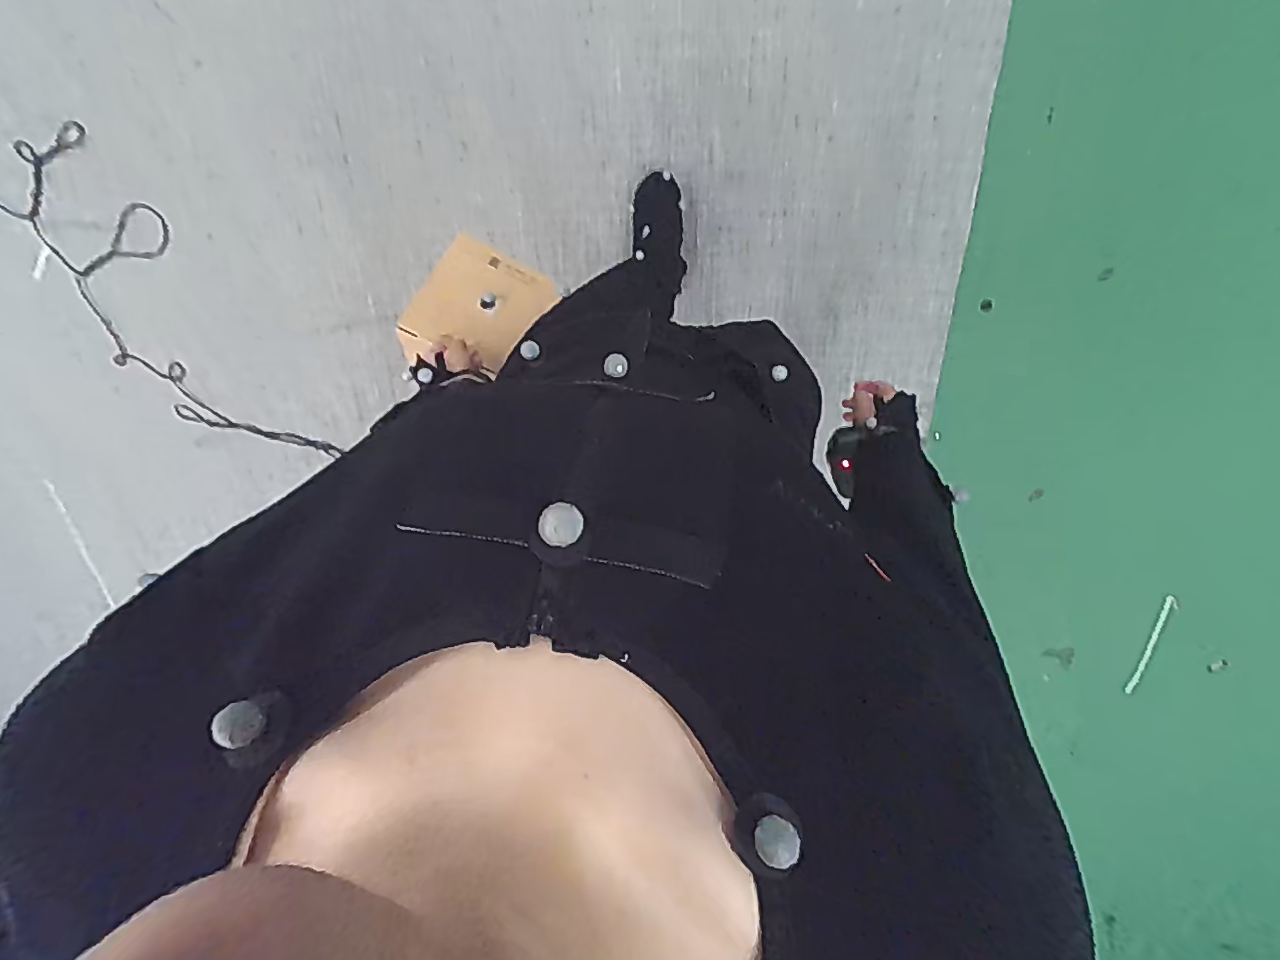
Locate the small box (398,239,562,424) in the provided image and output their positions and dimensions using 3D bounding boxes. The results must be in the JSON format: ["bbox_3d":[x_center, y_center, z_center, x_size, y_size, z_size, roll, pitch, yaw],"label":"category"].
[{"bbox_3d":[-0.227,-0.214,0.800,0.168,0.179,0.176,25,71,-7],"label":"small box"}]
